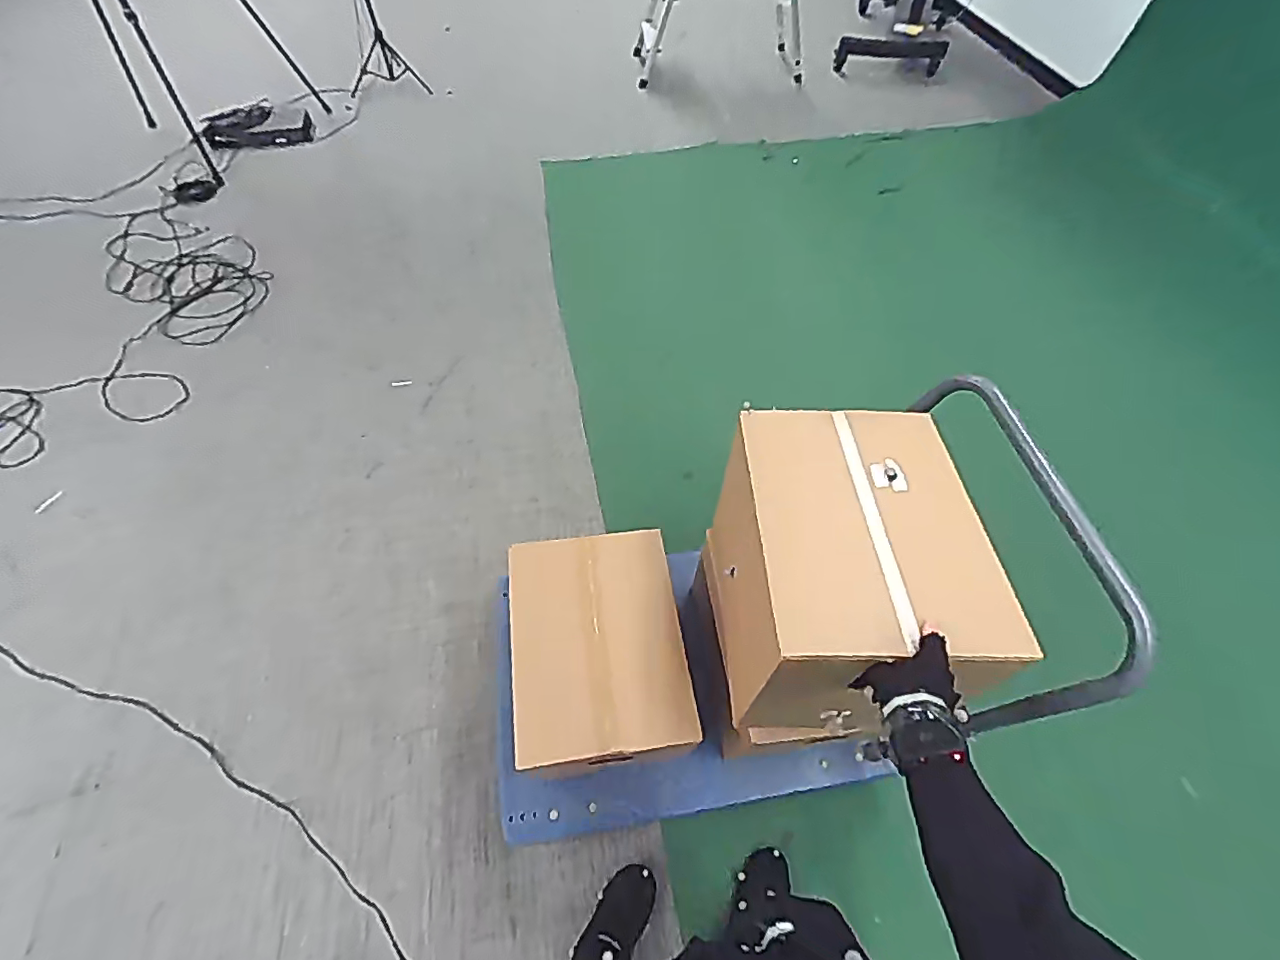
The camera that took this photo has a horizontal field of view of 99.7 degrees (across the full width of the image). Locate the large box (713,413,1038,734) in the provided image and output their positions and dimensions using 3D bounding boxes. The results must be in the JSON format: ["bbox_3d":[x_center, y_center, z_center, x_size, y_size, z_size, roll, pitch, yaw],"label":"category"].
[{"bbox_3d":[0.299,0.146,0.851,0.320,0.320,0.408,1,50,-2],"label":"large box"}]
